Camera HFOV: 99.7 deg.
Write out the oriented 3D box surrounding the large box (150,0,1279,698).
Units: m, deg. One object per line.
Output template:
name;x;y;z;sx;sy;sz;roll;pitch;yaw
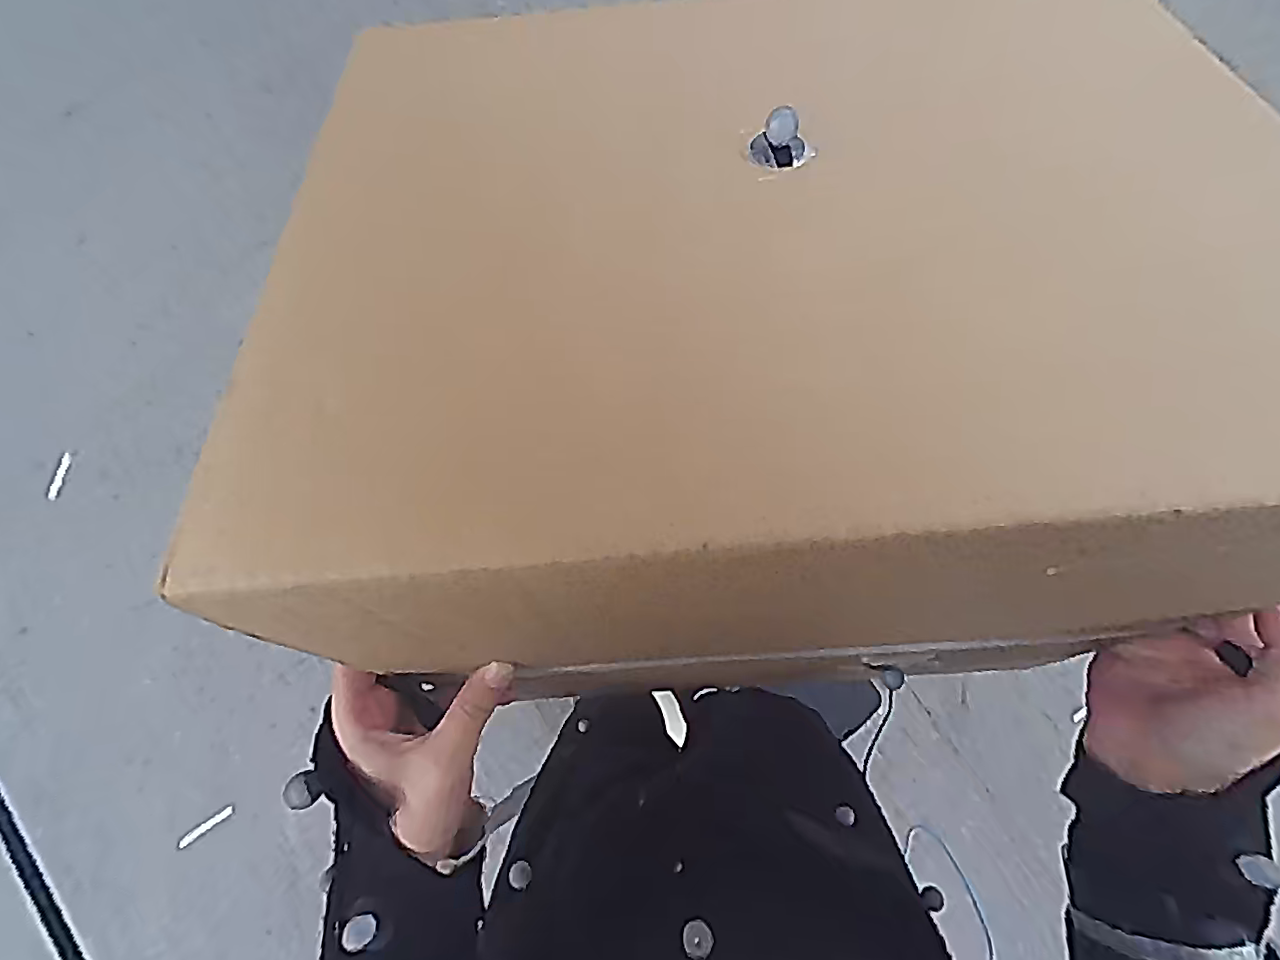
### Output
large box;0.051;-0.054;0.346;0.408;0.320;0.320;-6;64;2
